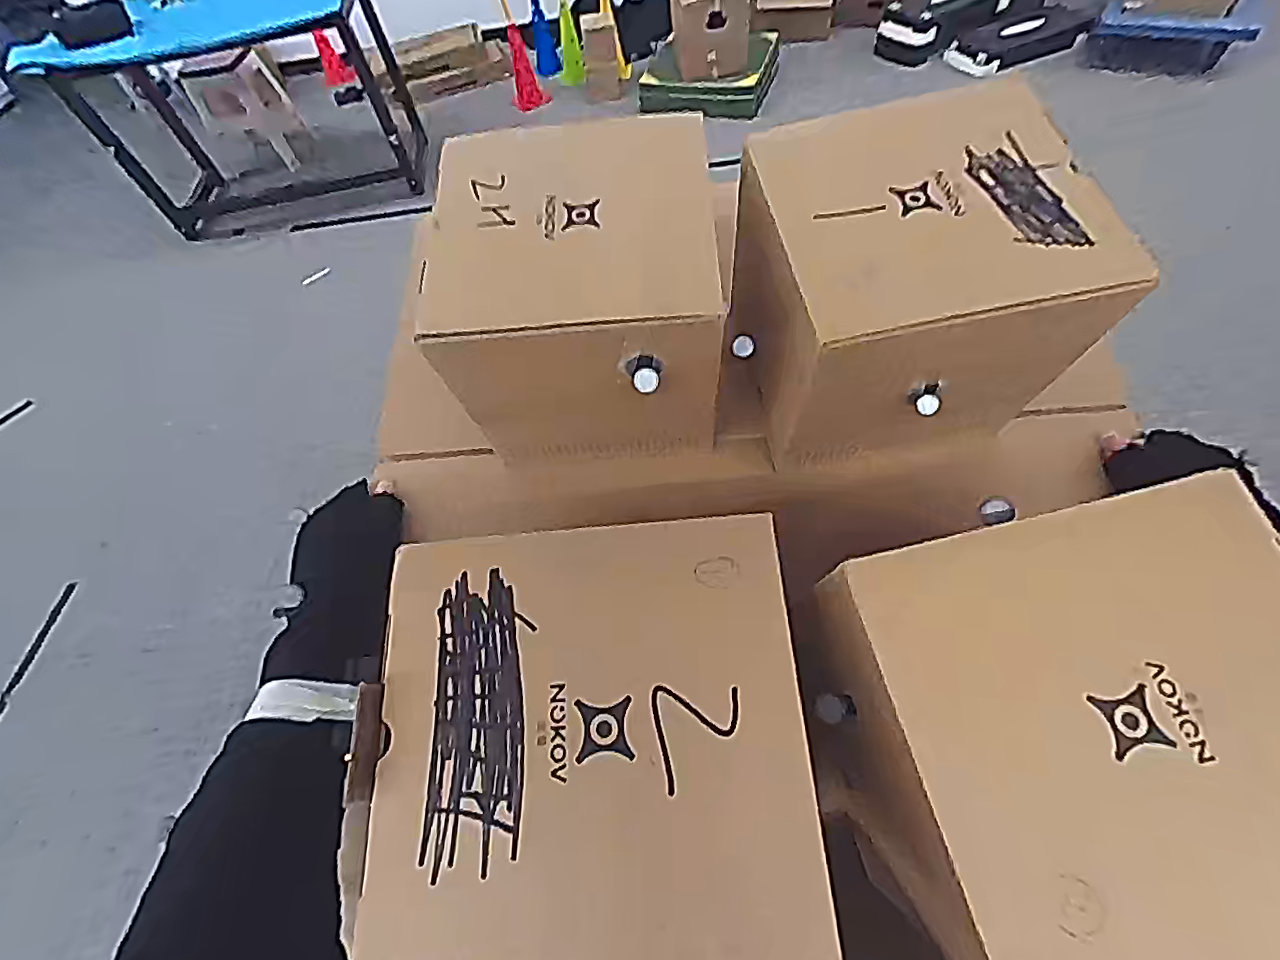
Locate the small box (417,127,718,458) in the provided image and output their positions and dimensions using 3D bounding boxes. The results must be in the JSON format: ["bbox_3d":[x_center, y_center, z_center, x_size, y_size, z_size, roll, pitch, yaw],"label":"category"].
[{"bbox_3d":[-0.037,-0.126,0.410,0.179,0.176,0.168,-3,66,5],"label":"small box"}]
